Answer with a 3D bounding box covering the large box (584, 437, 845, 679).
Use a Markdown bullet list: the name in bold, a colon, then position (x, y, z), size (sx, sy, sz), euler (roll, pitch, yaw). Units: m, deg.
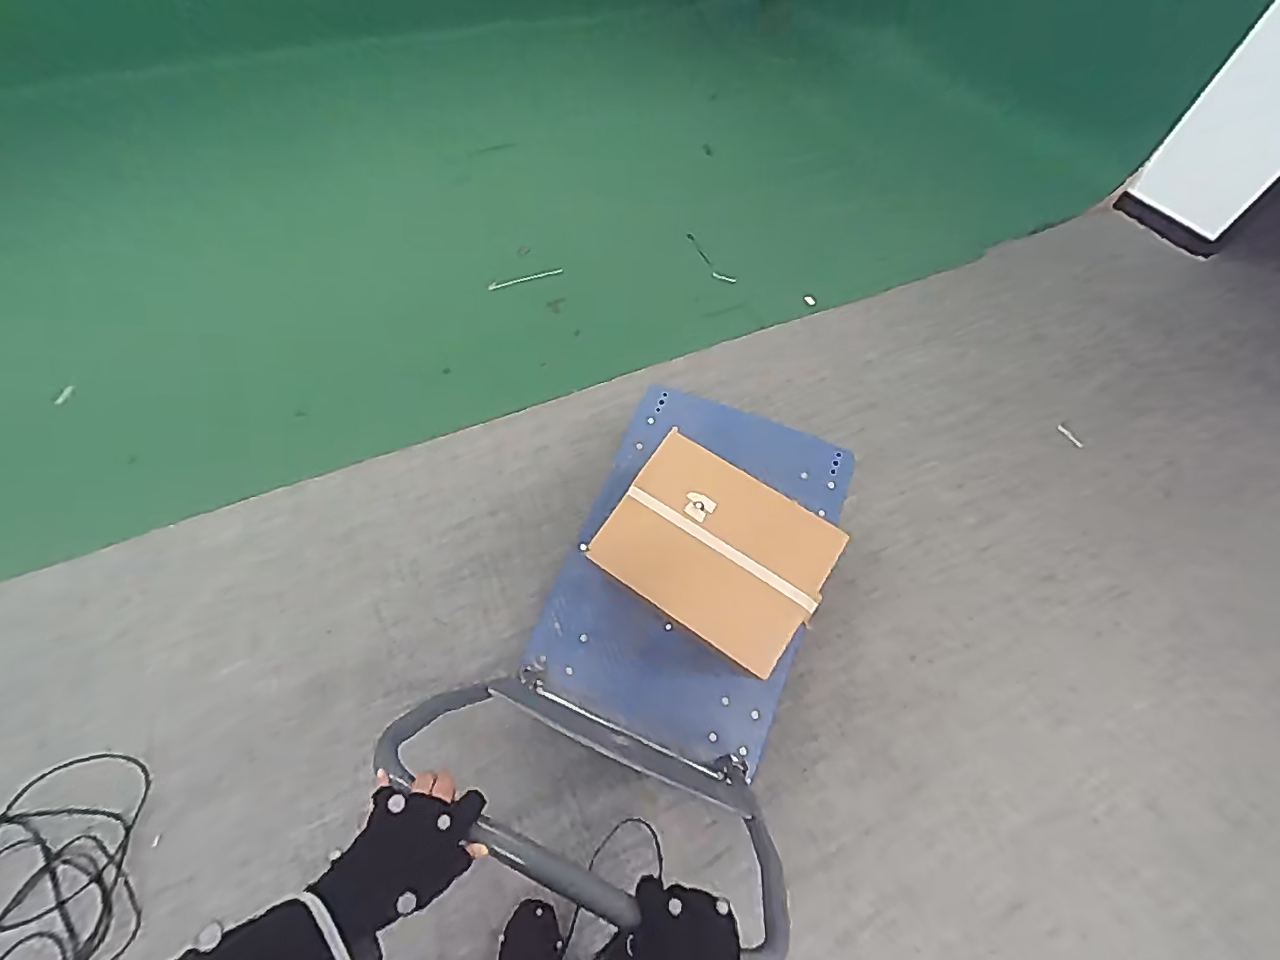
- **large box**: position (0.153, 0.177, 1.164), size (0.408, 0.320, 0.320), euler (33, 76, 15)
